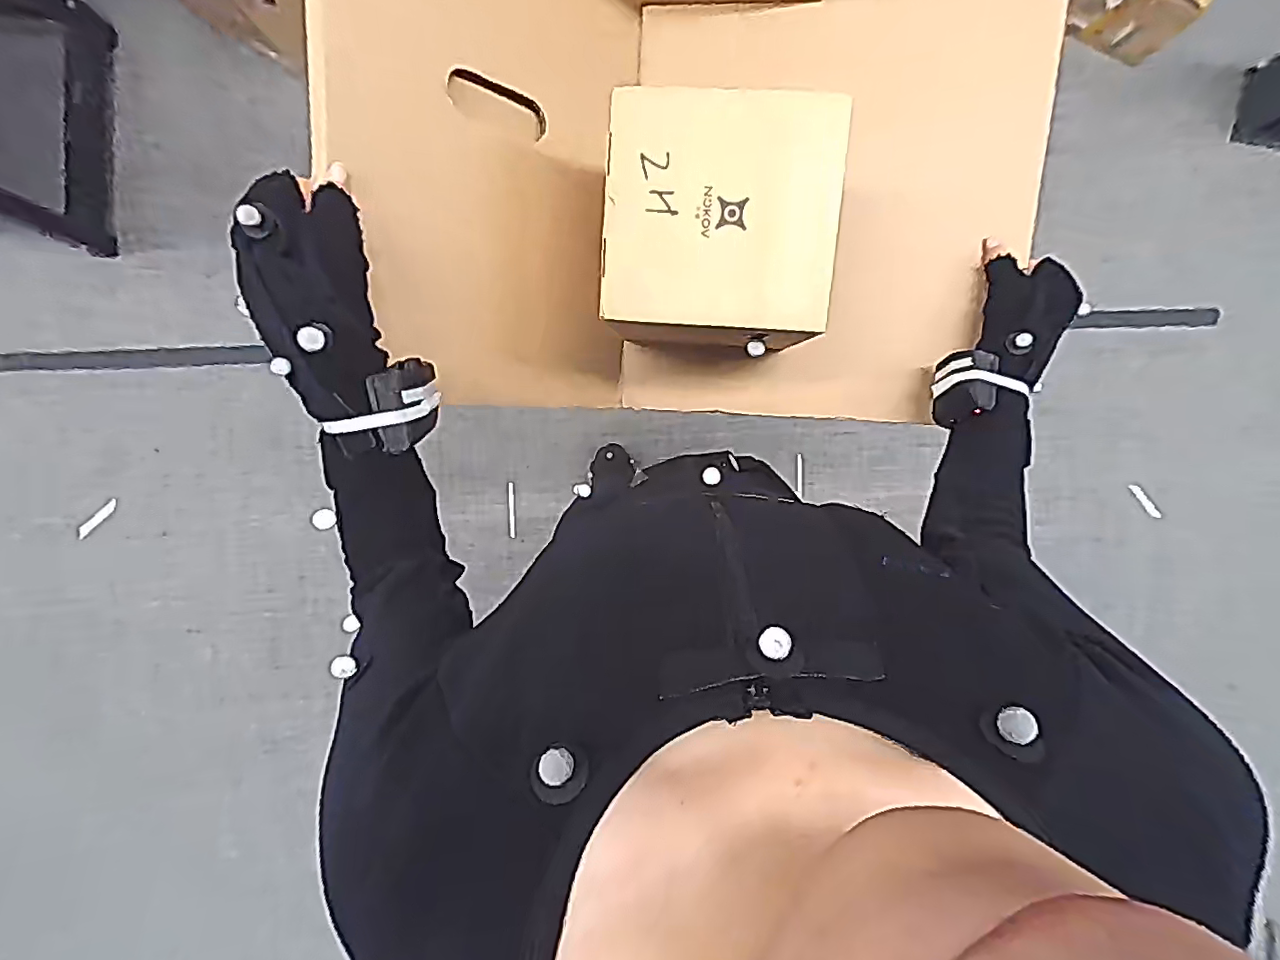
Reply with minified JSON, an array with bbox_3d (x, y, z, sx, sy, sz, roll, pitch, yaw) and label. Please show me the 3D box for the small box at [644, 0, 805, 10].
[{"bbox_3d":[0.081,-0.528,0.440,0.179,0.176,0.168,3,99,4],"label":"small box"}]
